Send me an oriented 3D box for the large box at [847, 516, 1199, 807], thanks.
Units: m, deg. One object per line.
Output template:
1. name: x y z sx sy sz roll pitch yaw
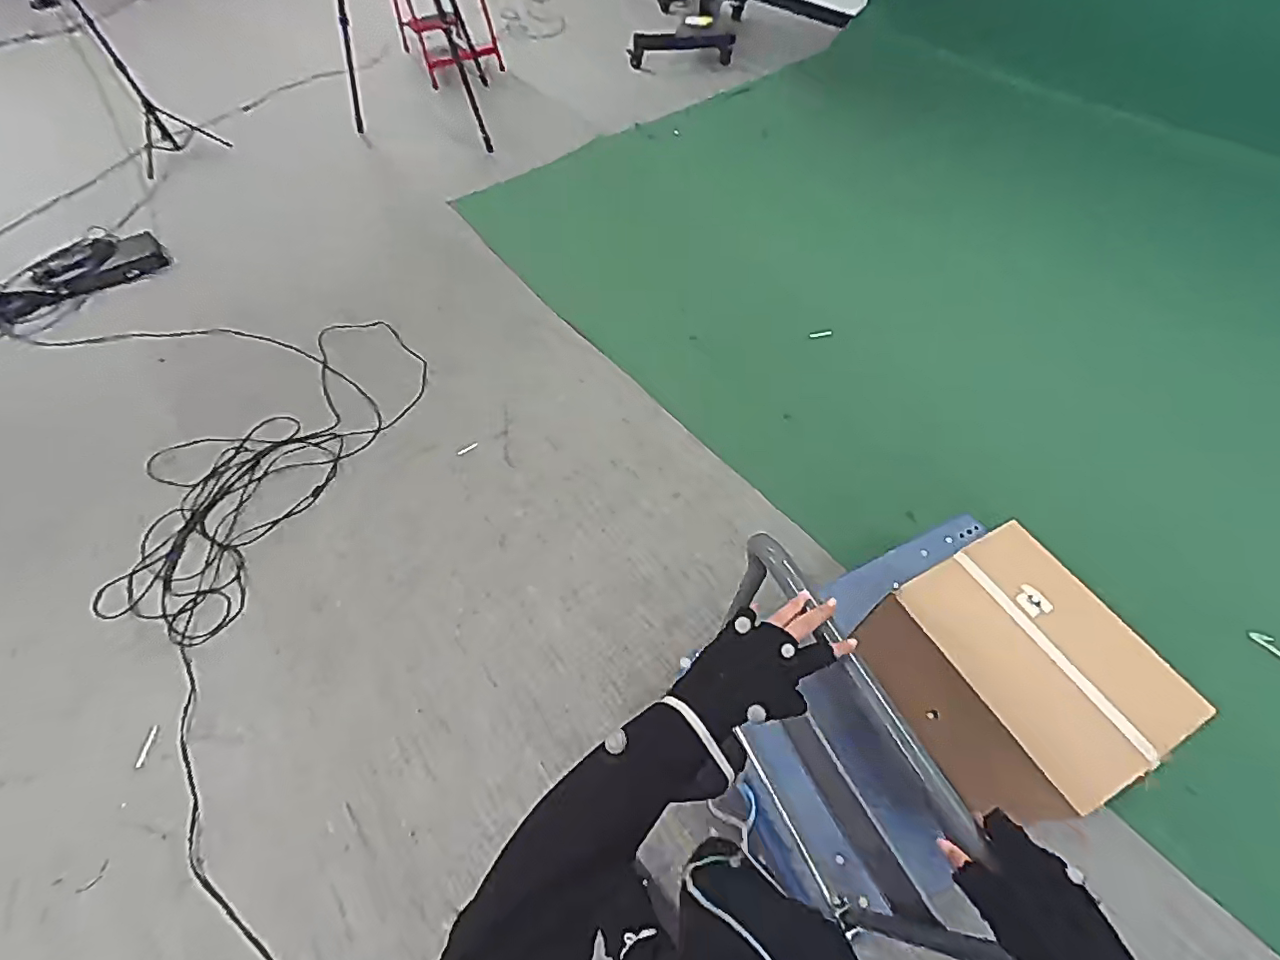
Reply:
1. large box: 0.693 0.356 1.066 0.320 0.320 0.408 -26 59 -13
